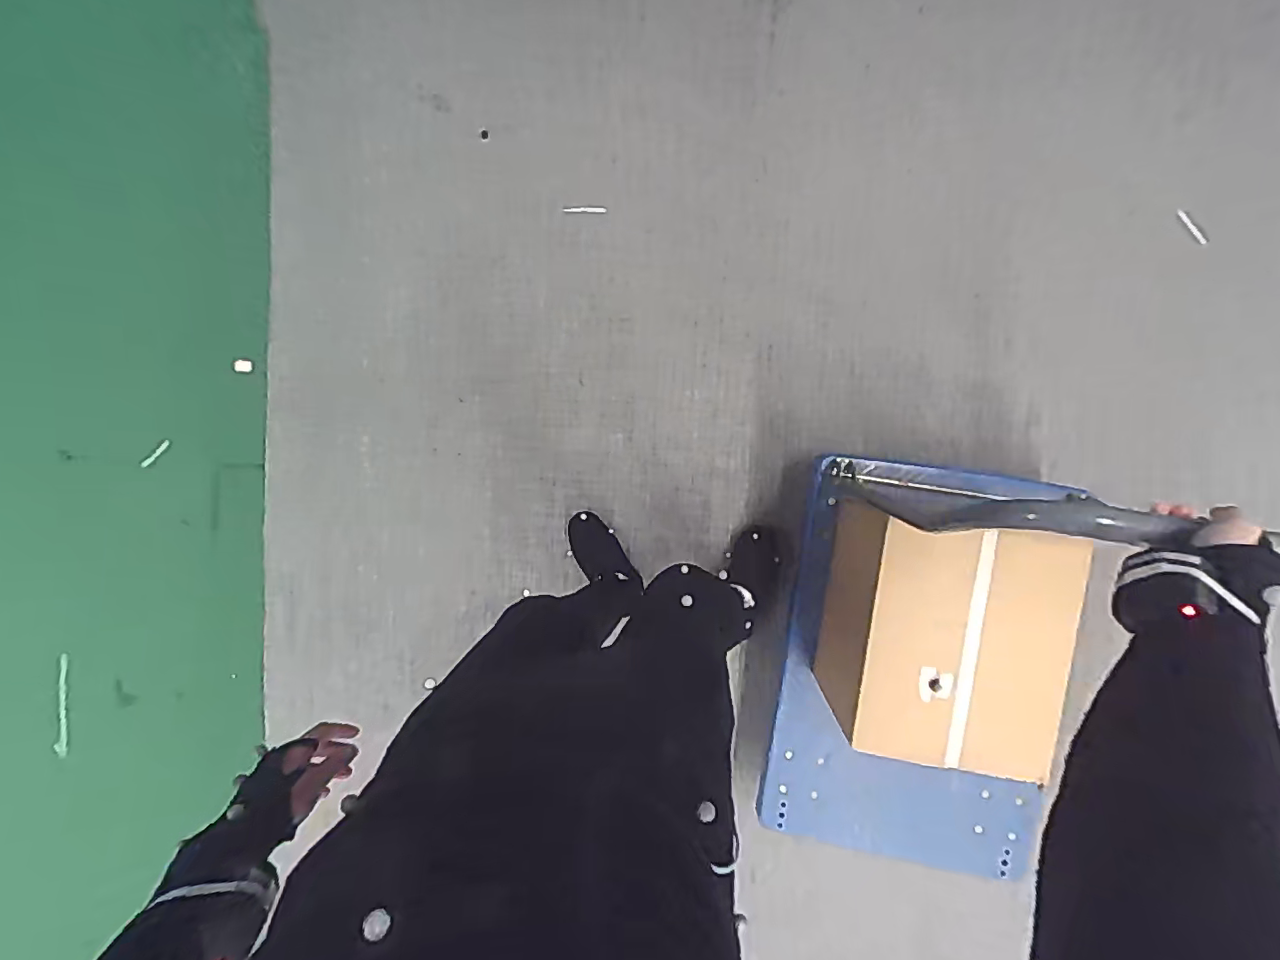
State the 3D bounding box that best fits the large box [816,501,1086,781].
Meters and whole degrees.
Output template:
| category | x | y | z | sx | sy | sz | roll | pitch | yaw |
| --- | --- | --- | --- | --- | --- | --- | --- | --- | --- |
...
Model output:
| category | x | y | z | sx | sy | sz | roll | pitch | yaw |
| --- | --- | --- | --- | --- | --- | --- | --- | --- | --- |
| large box | 0.546 | 0.266 | 1.025 | 0.320 | 0.320 | 0.408 | 8 | 94 | 6 |
